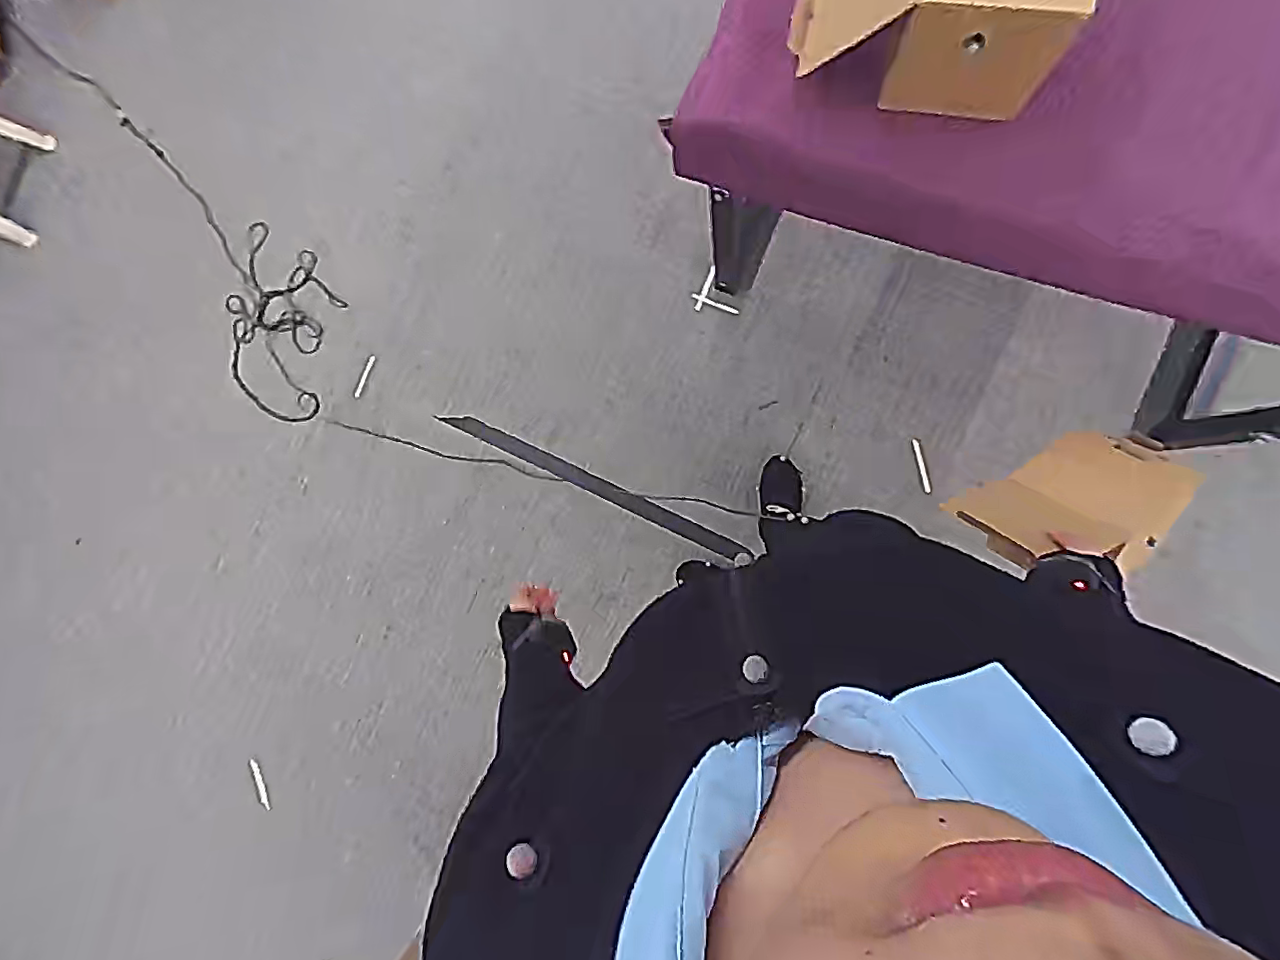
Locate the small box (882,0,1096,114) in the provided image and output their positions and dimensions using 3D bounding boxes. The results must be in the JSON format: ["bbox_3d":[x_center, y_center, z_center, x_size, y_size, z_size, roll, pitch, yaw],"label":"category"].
[{"bbox_3d":[0.411,-0.574,0.643,0.179,0.176,0.168,13,92,9],"label":"small box"}]
